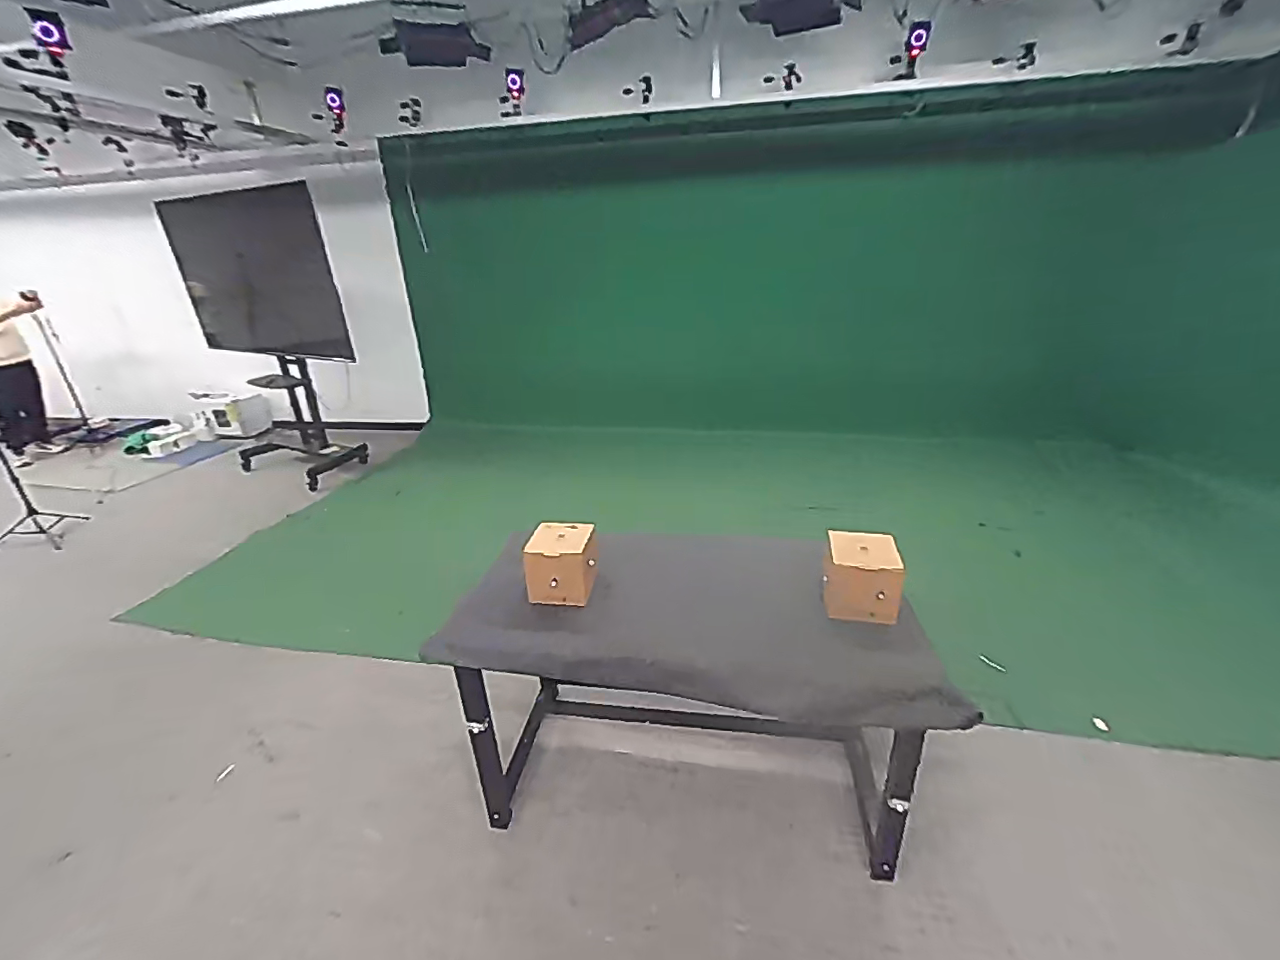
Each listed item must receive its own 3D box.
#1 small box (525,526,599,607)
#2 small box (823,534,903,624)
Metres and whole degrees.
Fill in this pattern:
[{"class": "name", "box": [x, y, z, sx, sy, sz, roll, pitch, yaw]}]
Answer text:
[{"class": "small box", "box": [-0.216, 0.247, 1.555, 0.168, 0.176, 0.179, 2, 24, 8]}, {"class": "small box", "box": [0.582, 0.260, 1.431, 0.168, 0.176, 0.179, 3, 23, 12]}]
